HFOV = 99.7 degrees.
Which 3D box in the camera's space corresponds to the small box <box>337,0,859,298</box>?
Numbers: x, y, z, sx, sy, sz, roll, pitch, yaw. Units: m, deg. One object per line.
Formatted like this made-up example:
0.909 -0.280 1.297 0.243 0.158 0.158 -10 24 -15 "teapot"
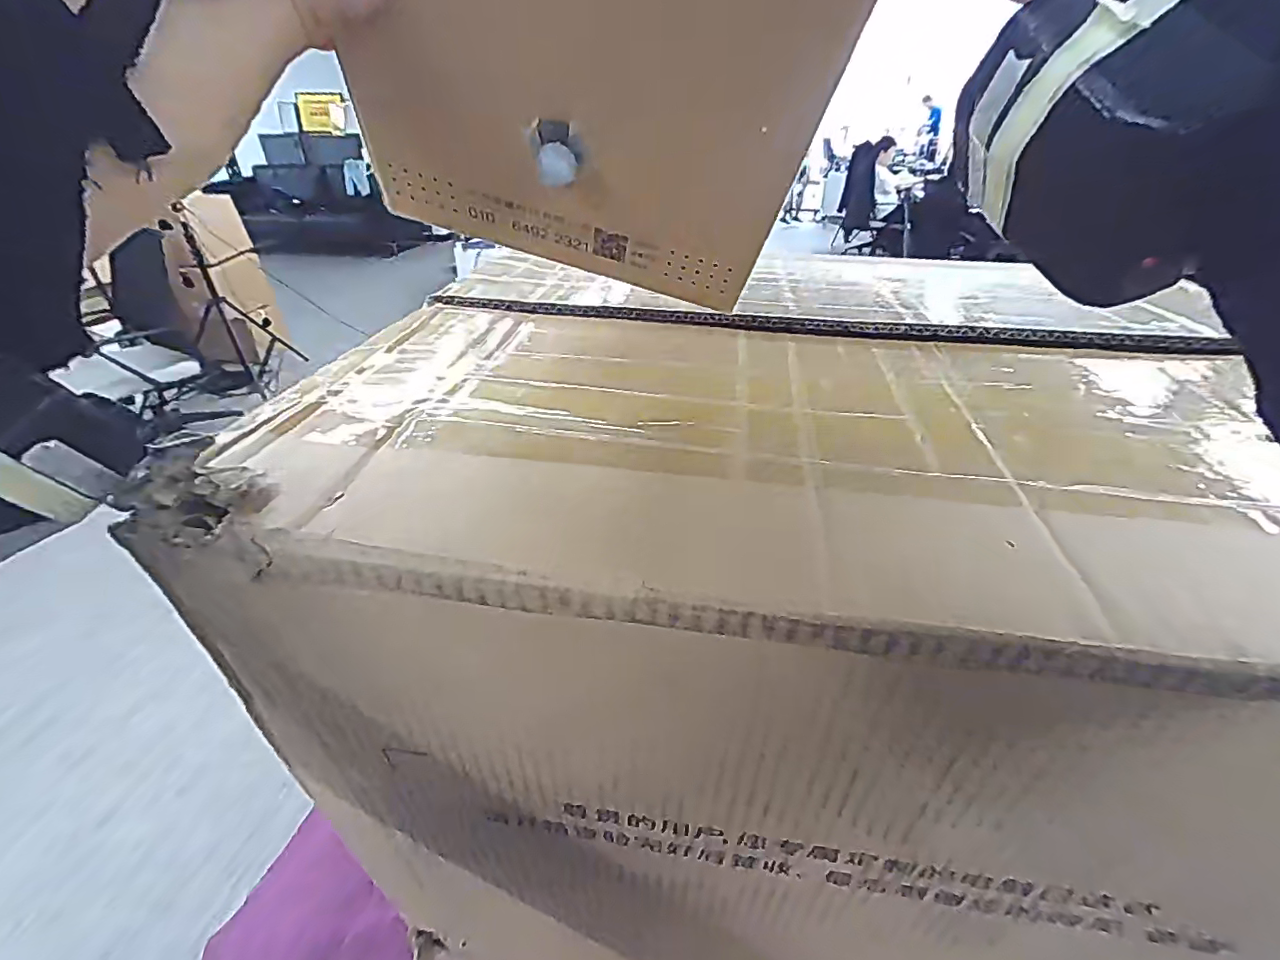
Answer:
-0.006 -0.208 0.205 0.168 0.176 0.179 16 65 -2 "small box"
